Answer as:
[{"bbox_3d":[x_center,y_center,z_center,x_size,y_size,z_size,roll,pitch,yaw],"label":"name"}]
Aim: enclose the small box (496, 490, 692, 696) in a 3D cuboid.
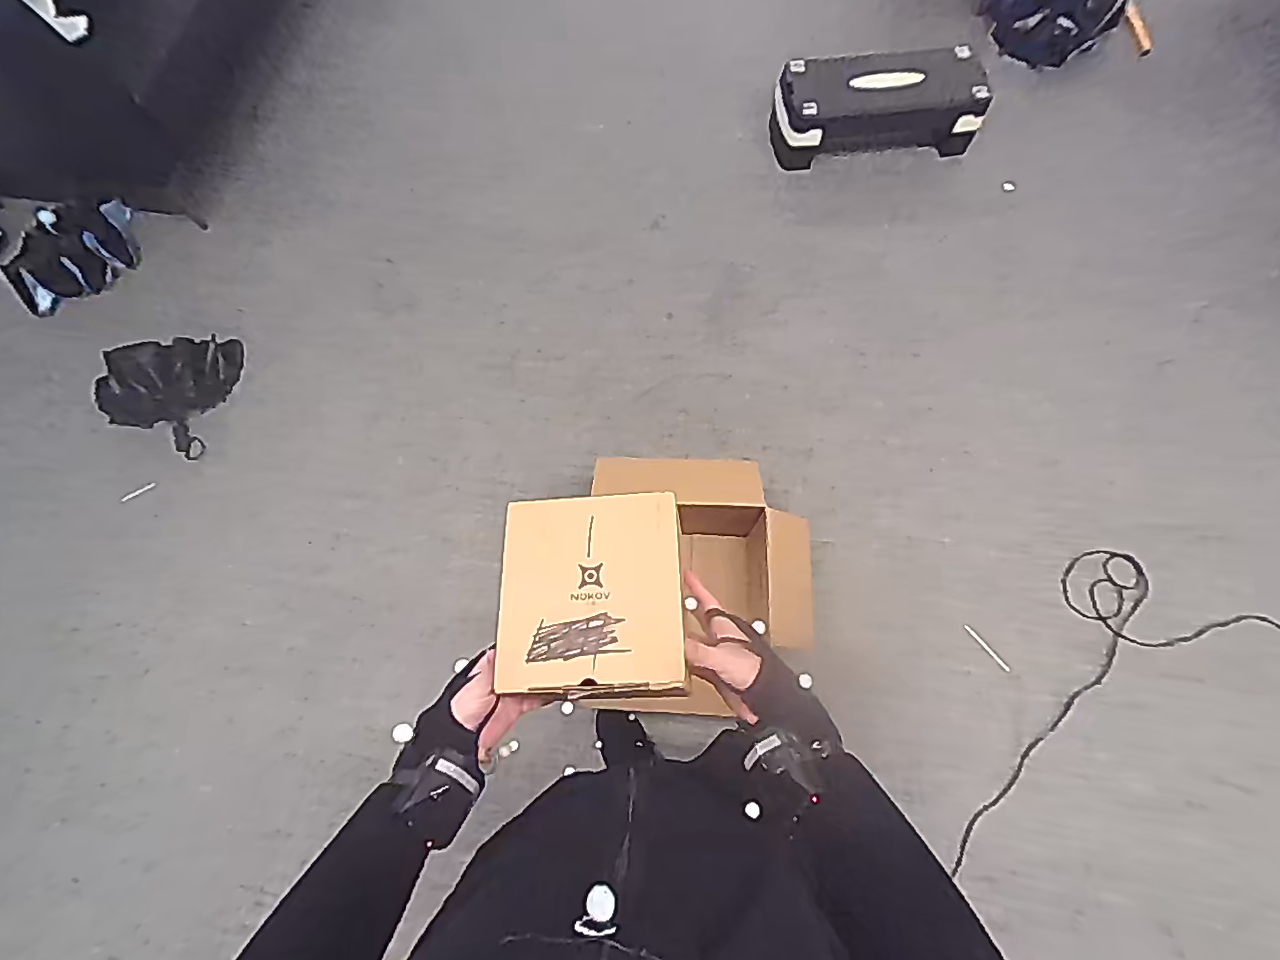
[{"bbox_3d":[-0.035,0.126,0.557,0.168,0.176,0.179,-5,65,5],"label":"small box"}]
